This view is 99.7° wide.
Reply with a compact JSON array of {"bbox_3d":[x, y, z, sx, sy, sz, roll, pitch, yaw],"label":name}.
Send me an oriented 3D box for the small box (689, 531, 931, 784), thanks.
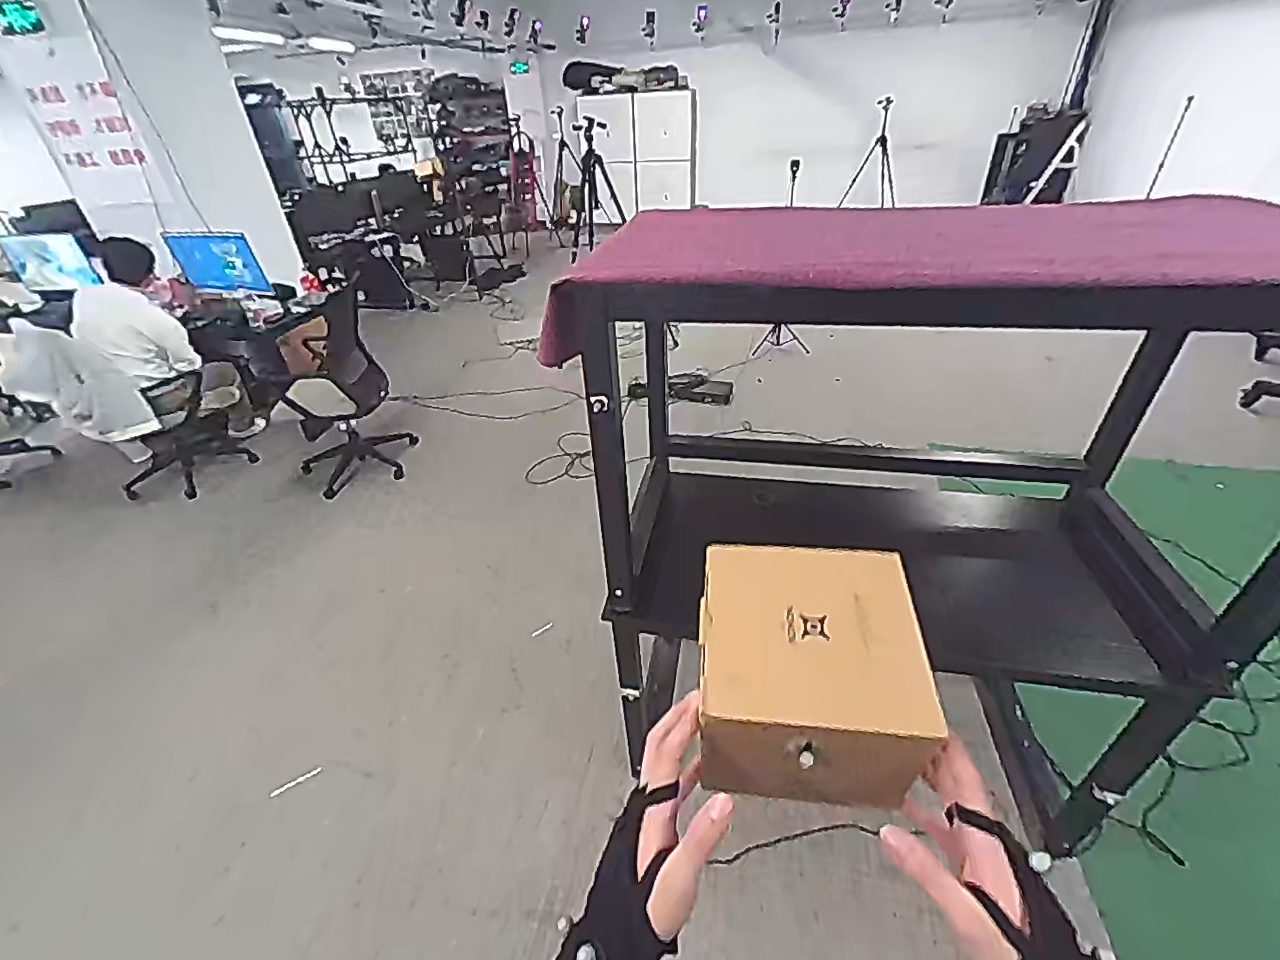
[{"bbox_3d":[0.142,0.166,0.509,0.179,0.176,0.168,2,44,9],"label":"small box"}]
